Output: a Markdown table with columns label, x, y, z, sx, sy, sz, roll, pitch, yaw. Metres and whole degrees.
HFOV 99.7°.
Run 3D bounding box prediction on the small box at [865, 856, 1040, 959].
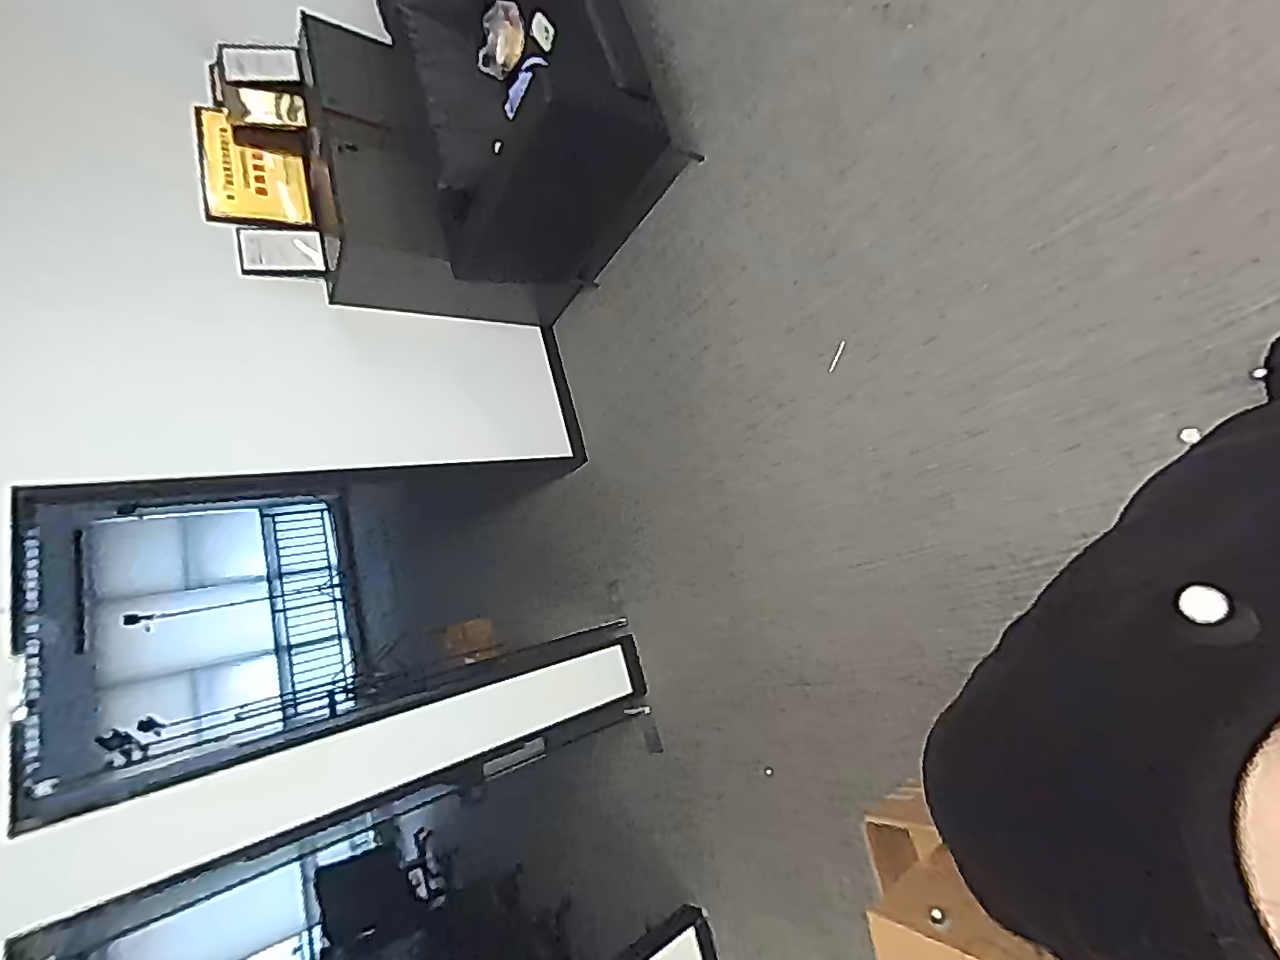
| label | x | y | z | sx | sy | sz | roll | pitch | yaw |
| --- | --- | --- | --- | --- | --- | --- | --- | --- | --- |
| small box | 0.475 | 0.705 | 0.808 | 0.179 | 0.176 | 0.168 | -20 | 77 | 52 |
